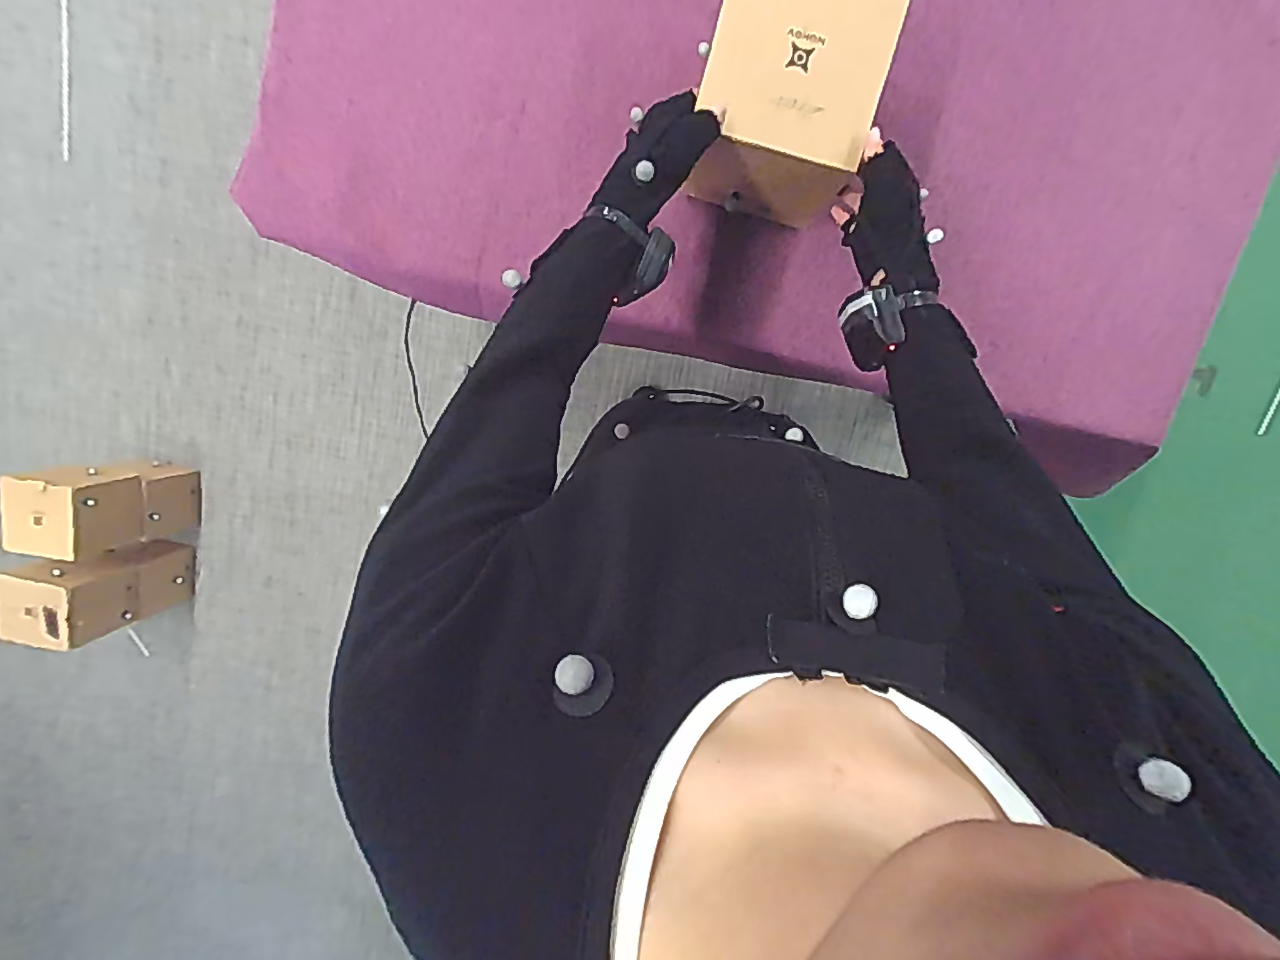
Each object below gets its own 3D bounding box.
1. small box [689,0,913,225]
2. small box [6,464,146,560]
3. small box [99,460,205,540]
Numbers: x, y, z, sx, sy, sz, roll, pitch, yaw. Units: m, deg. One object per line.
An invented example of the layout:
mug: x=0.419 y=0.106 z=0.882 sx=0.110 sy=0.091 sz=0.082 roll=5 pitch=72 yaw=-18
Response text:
small box: x=0.152 y=-0.403 z=0.572 sx=0.168 sy=0.176 sz=0.179 roll=15 pitch=97 yaw=0
small box: x=-1.331 y=0.070 z=1.289 sx=0.168 sy=0.176 sz=0.179 roll=9 pitch=100 yaw=0
small box: x=-1.322 y=0.046 z=1.450 sx=0.179 sy=0.176 sz=0.168 roll=10 pitch=101 yaw=1
